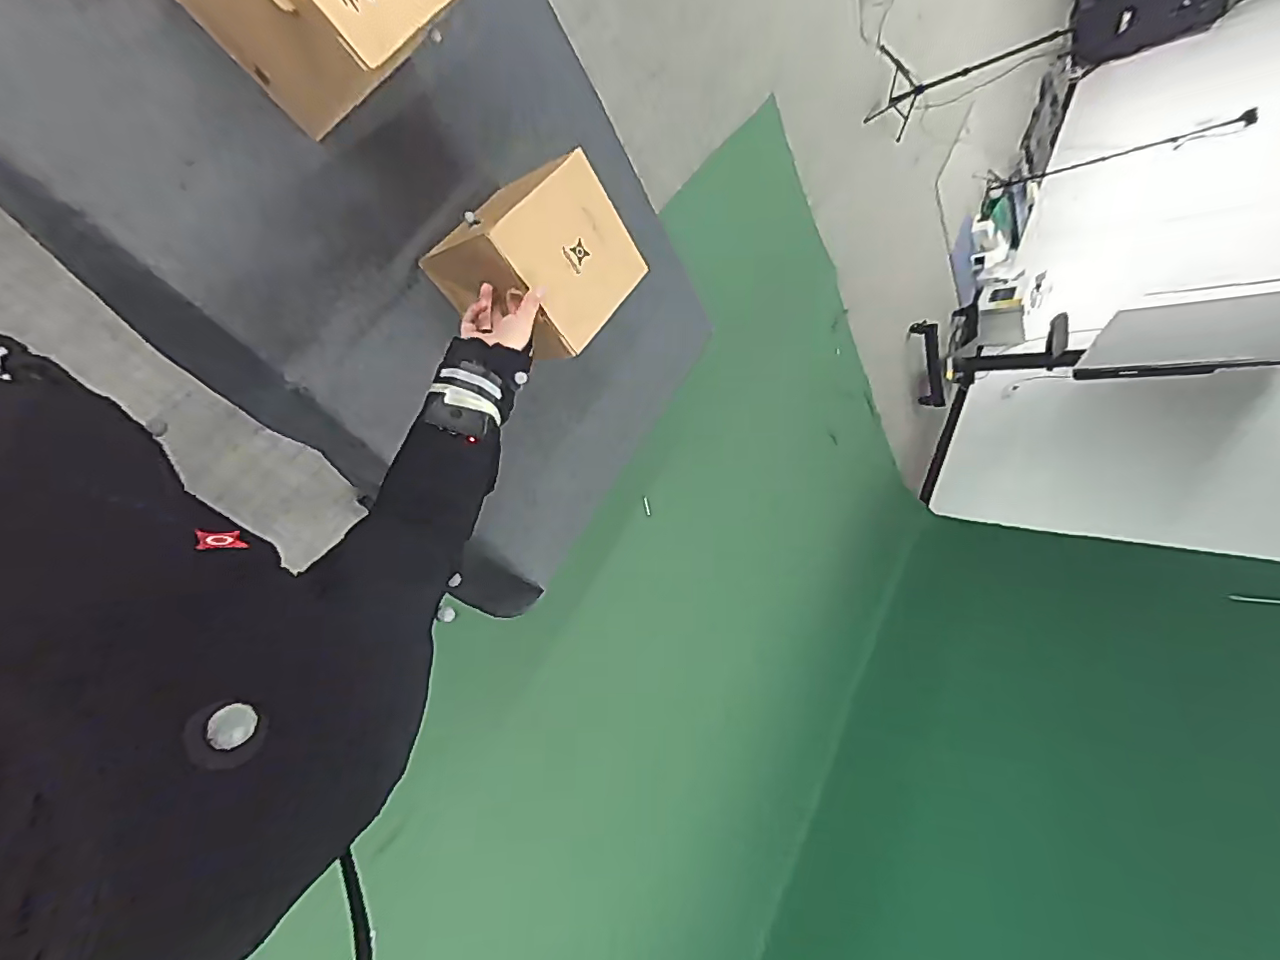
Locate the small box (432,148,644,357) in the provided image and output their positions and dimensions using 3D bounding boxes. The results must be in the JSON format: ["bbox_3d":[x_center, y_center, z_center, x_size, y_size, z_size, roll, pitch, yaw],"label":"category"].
[{"bbox_3d":[-0.133,-0.273,0.686,0.179,0.176,0.168,-58,132,-25],"label":"small box"}]
